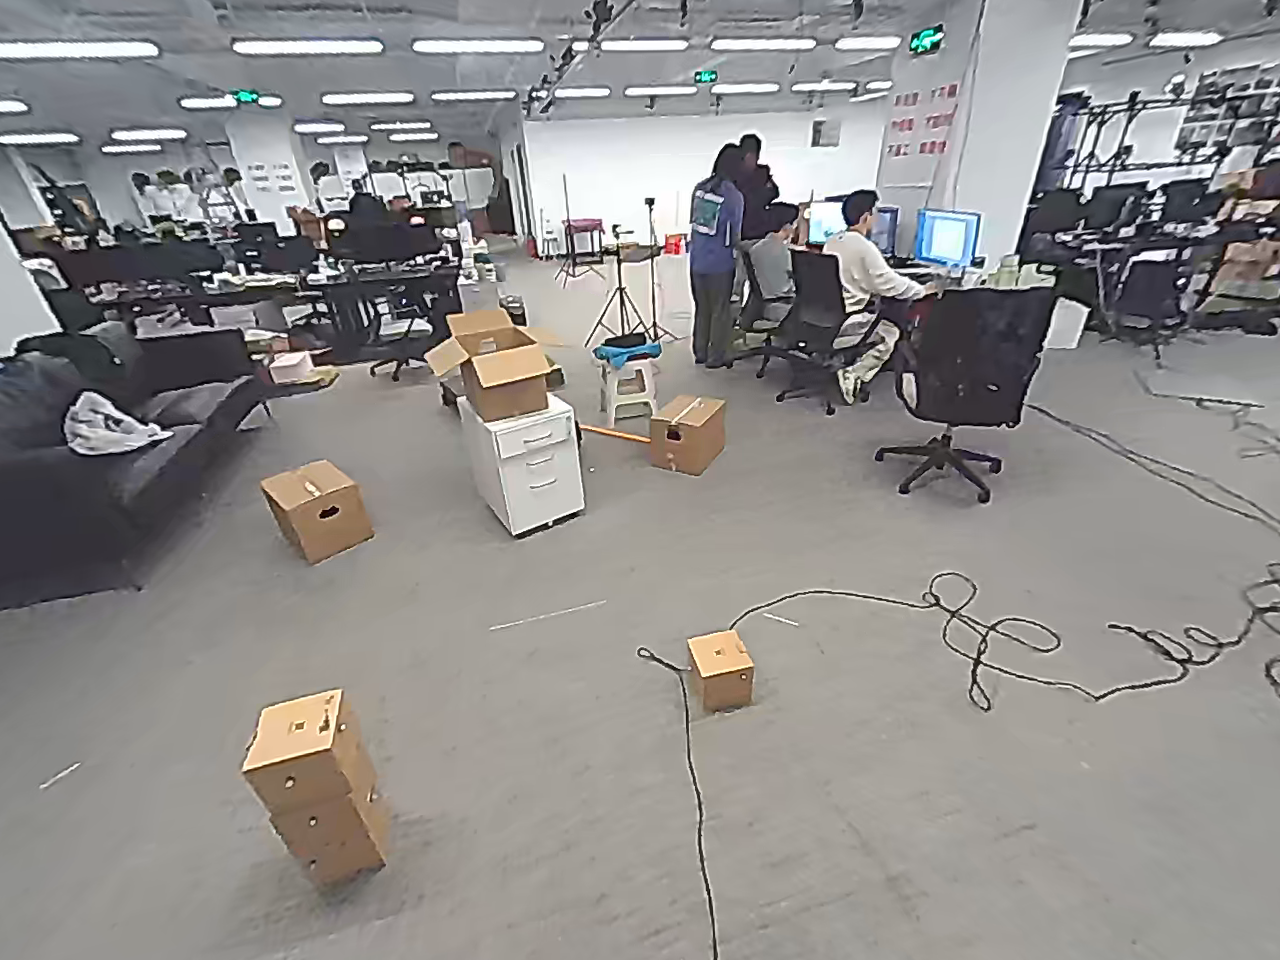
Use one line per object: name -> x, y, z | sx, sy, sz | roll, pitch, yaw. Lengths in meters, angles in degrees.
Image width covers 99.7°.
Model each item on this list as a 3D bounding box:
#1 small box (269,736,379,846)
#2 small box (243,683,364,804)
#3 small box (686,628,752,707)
small box -> -0.769, 0.761, 1.335 | 0.179, 0.176, 0.168 | -10, 31, -14
small box -> -0.772, 0.615, 1.261 | 0.179, 0.176, 0.168 | -11, 31, -13
small box -> 0.258, 0.625, 1.798 | 0.179, 0.176, 0.168 | -8, 30, -11
